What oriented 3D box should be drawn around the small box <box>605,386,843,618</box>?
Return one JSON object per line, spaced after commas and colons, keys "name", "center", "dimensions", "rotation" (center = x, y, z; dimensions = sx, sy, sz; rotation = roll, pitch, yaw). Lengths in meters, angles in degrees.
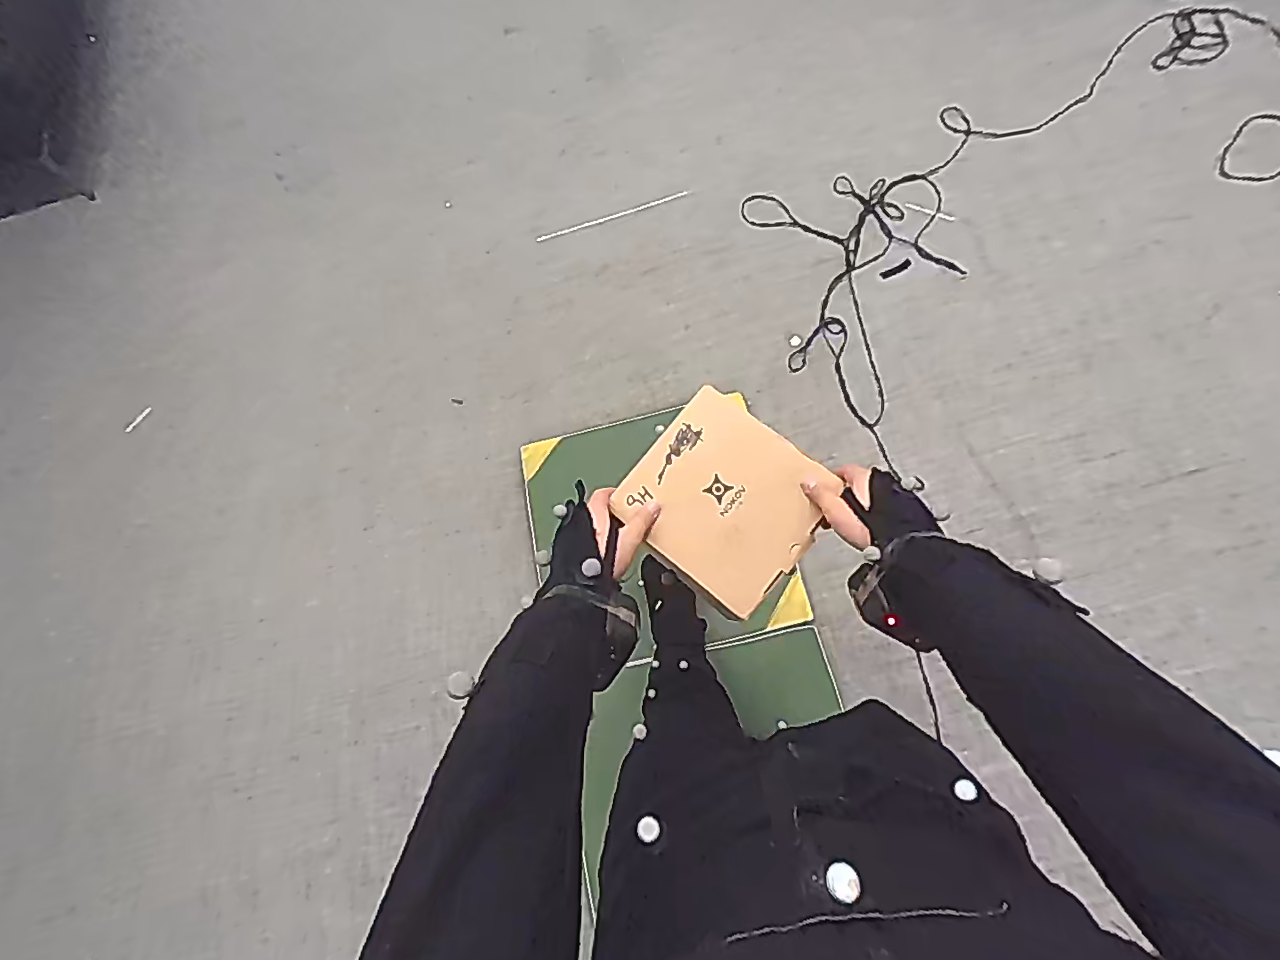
{"name": "small box", "center": [0.087, 0.032, 0.604], "dimensions": [0.179, 0.176, 0.168], "rotation": [39, 82, 12]}
